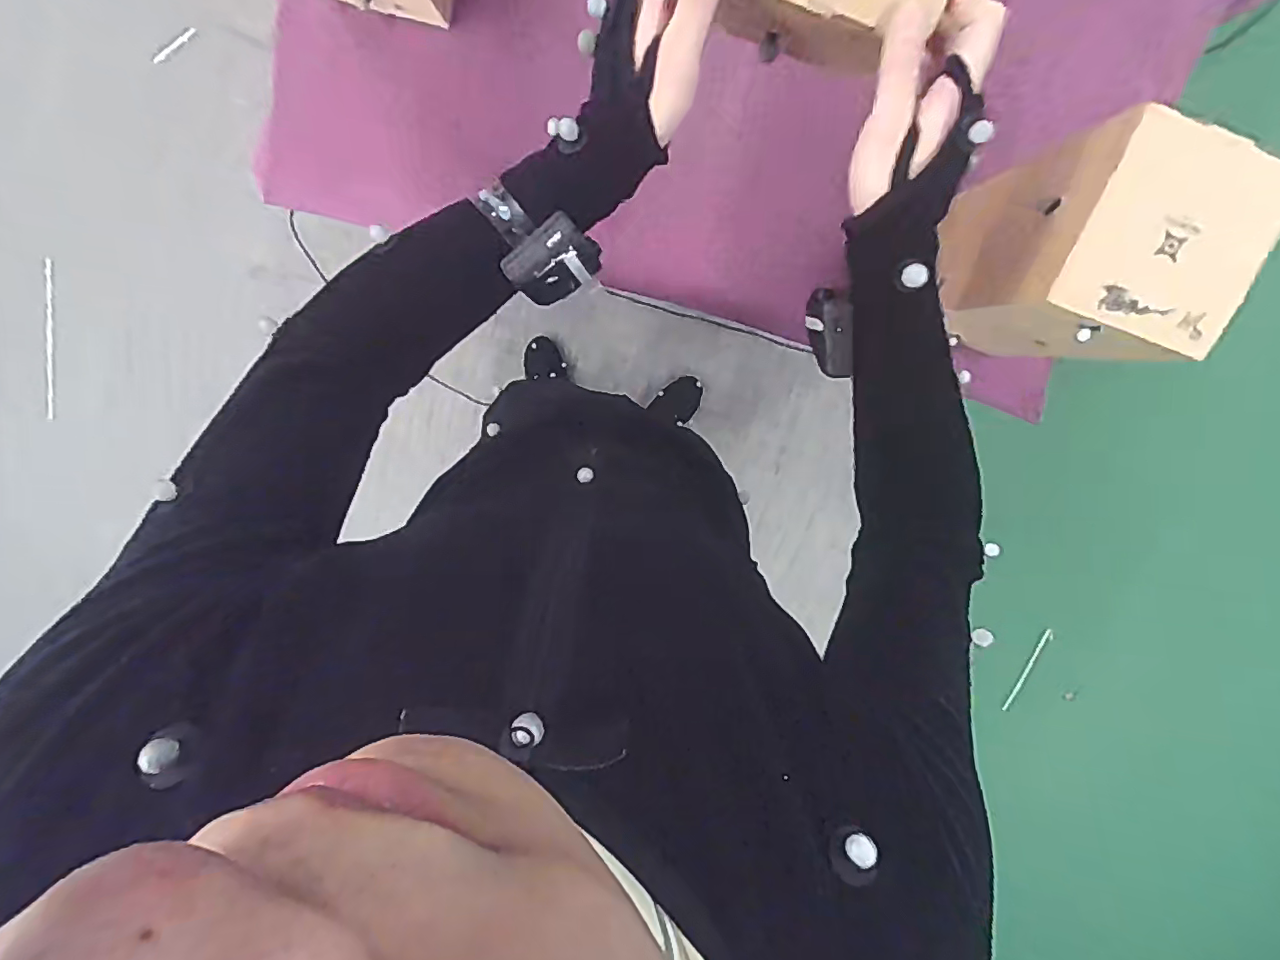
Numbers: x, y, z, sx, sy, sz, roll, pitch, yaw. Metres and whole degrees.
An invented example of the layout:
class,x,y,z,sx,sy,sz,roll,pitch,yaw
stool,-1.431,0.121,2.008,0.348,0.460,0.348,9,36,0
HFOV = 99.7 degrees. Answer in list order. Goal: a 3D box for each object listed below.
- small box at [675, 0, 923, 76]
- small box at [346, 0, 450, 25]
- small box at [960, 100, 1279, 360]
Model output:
class,x,y,z,sx,sy,sz,roll,pitch,yaw
small box,0.118,-0.402,0.354,0.168,0.176,0.179,18,121,-5
small box,-0.324,-0.698,0.636,0.168,0.176,0.179,13,105,-1
small box,0.478,-0.236,0.560,0.168,0.176,0.179,20,103,-2
